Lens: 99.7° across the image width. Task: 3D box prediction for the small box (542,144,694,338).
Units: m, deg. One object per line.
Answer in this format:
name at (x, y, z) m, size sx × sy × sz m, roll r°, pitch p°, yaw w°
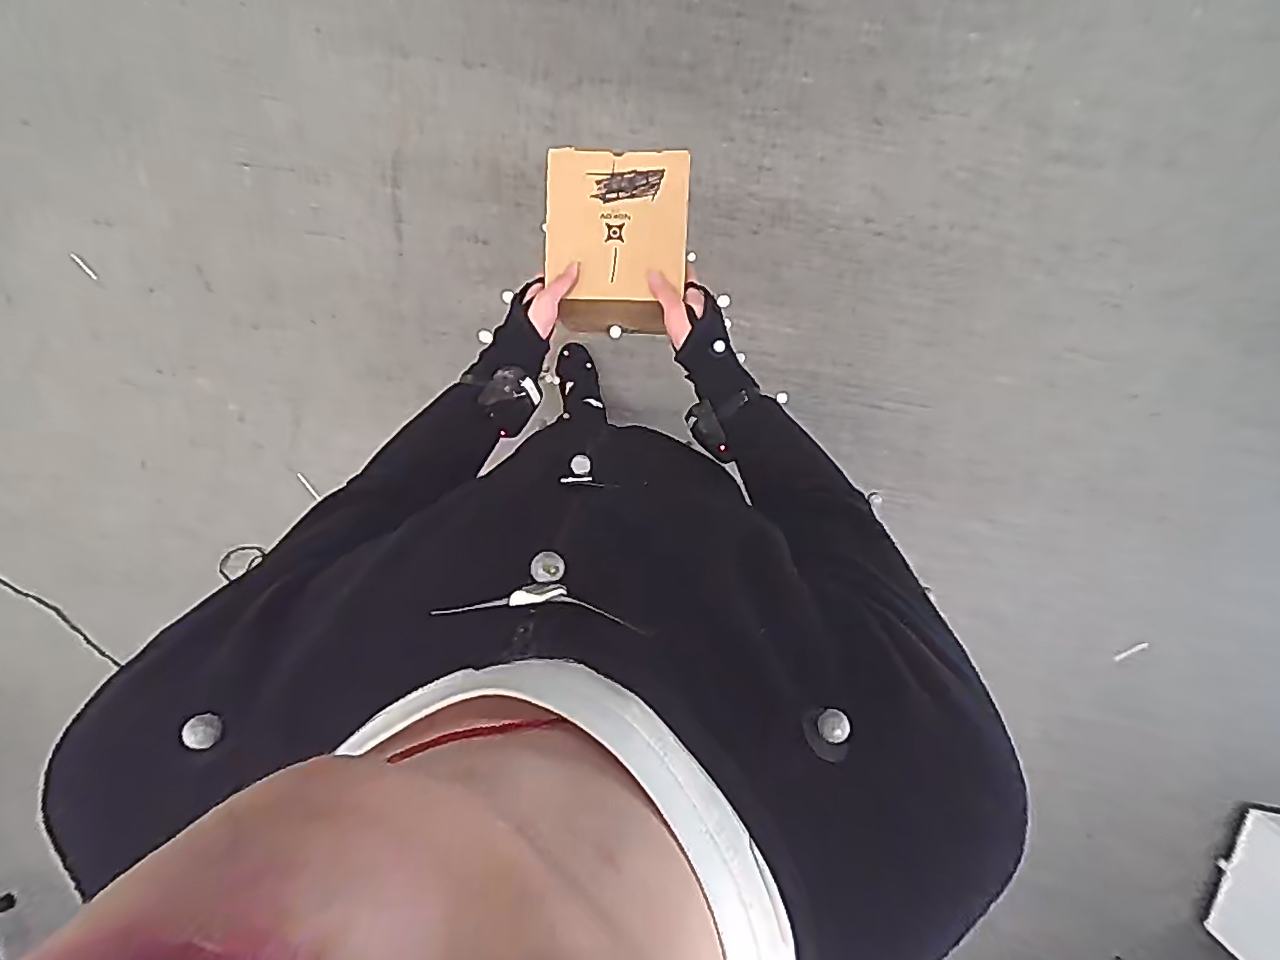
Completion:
small box at (-0.024, -0.298, 0.705) m, size 0.168 × 0.176 × 0.179 m, roll 5°, pitch 92°, yaw 2°
